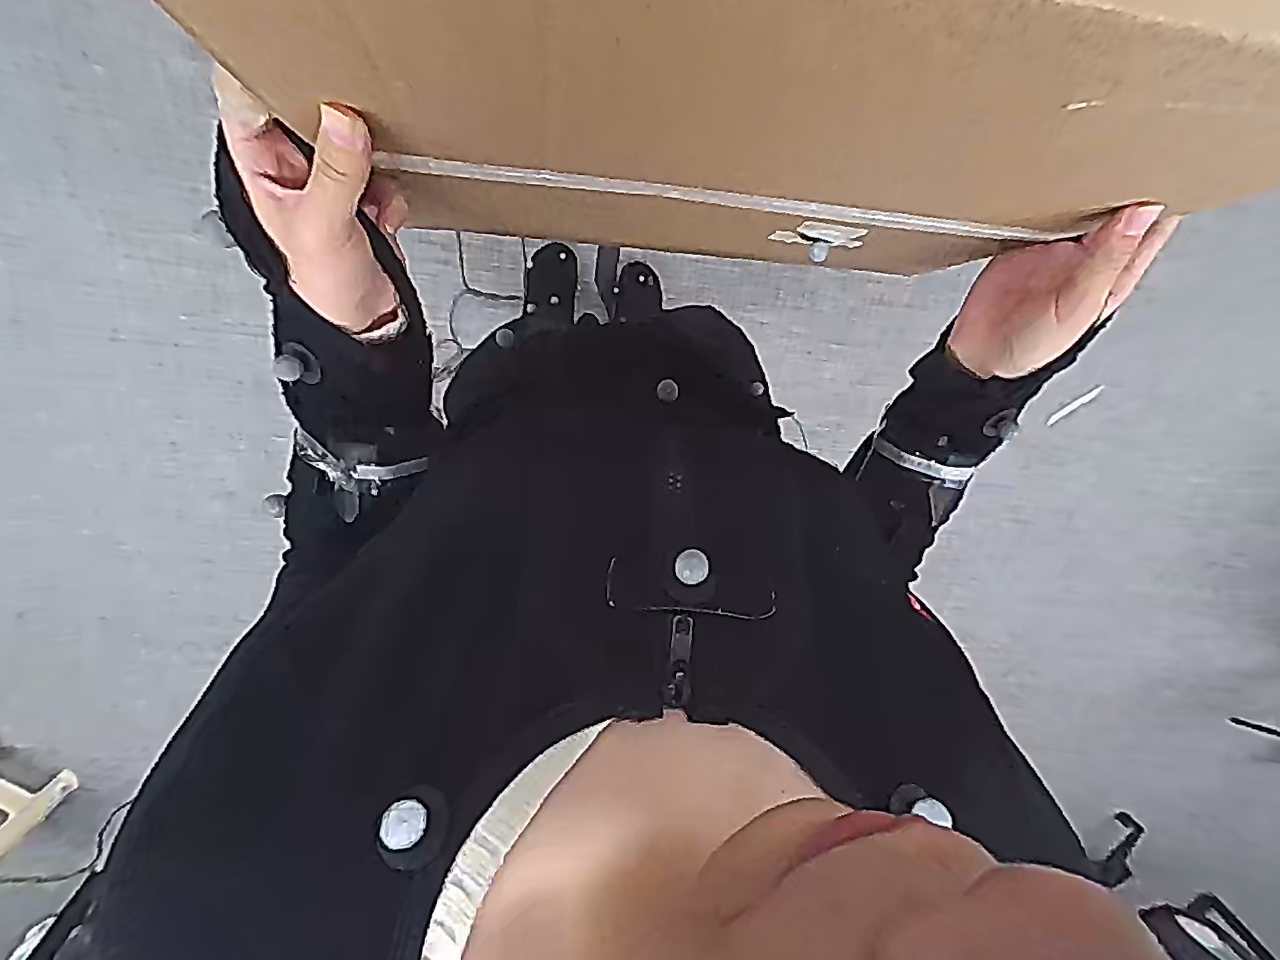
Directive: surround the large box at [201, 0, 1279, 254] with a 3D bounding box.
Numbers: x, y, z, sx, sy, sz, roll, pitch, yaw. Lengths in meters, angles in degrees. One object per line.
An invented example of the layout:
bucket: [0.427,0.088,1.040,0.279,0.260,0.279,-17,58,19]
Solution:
large box: [0.058,-0.302,0.231,0.408,0.320,0.320,0,103,-10]
